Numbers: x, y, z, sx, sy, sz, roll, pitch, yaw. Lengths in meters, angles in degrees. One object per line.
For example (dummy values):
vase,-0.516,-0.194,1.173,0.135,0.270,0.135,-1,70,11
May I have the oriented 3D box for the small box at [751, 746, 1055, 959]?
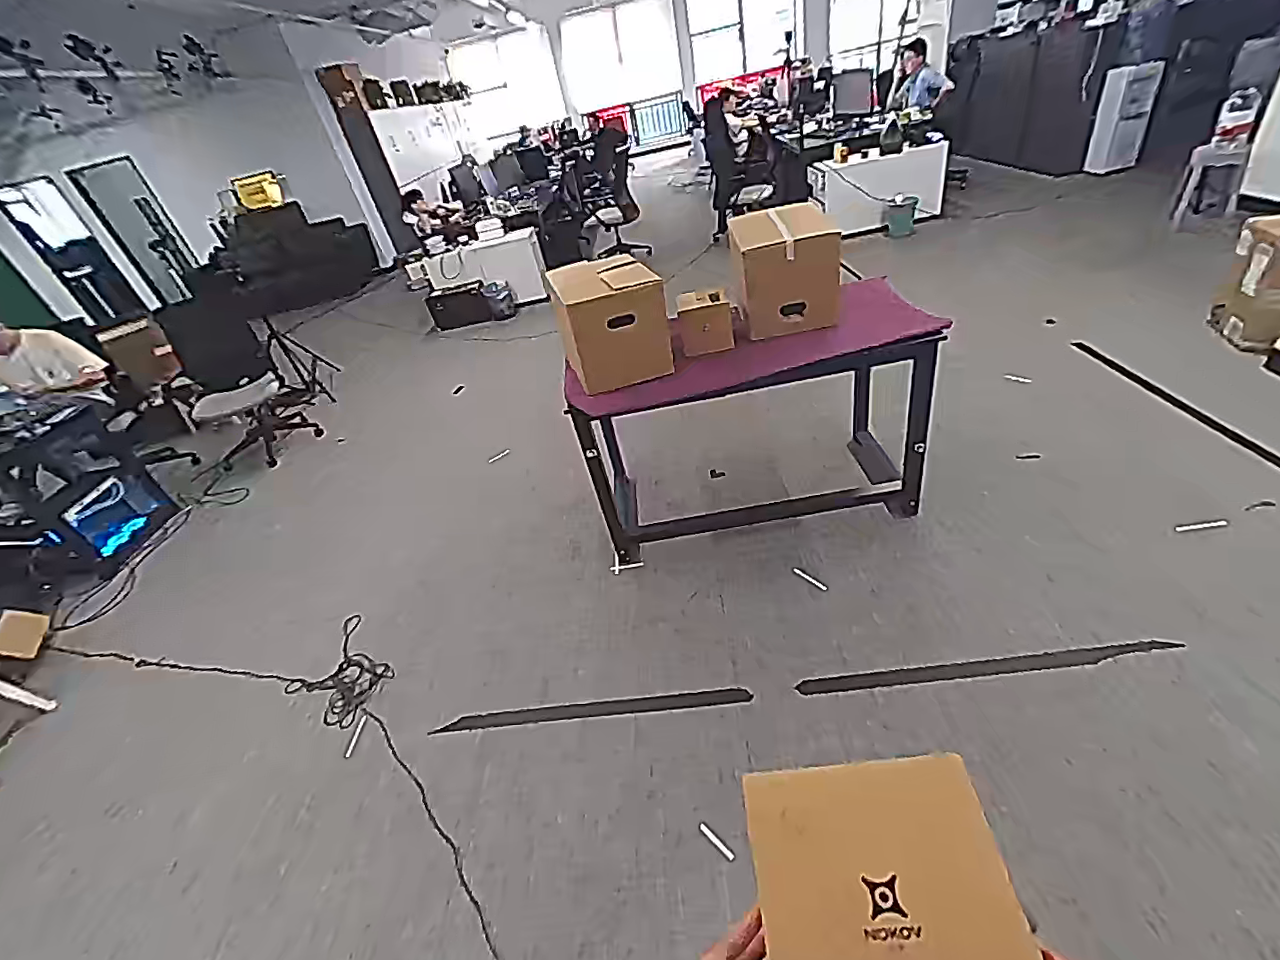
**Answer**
small box,0.180,0.326,0.410,0.168,0.176,0.179,-9,46,8
